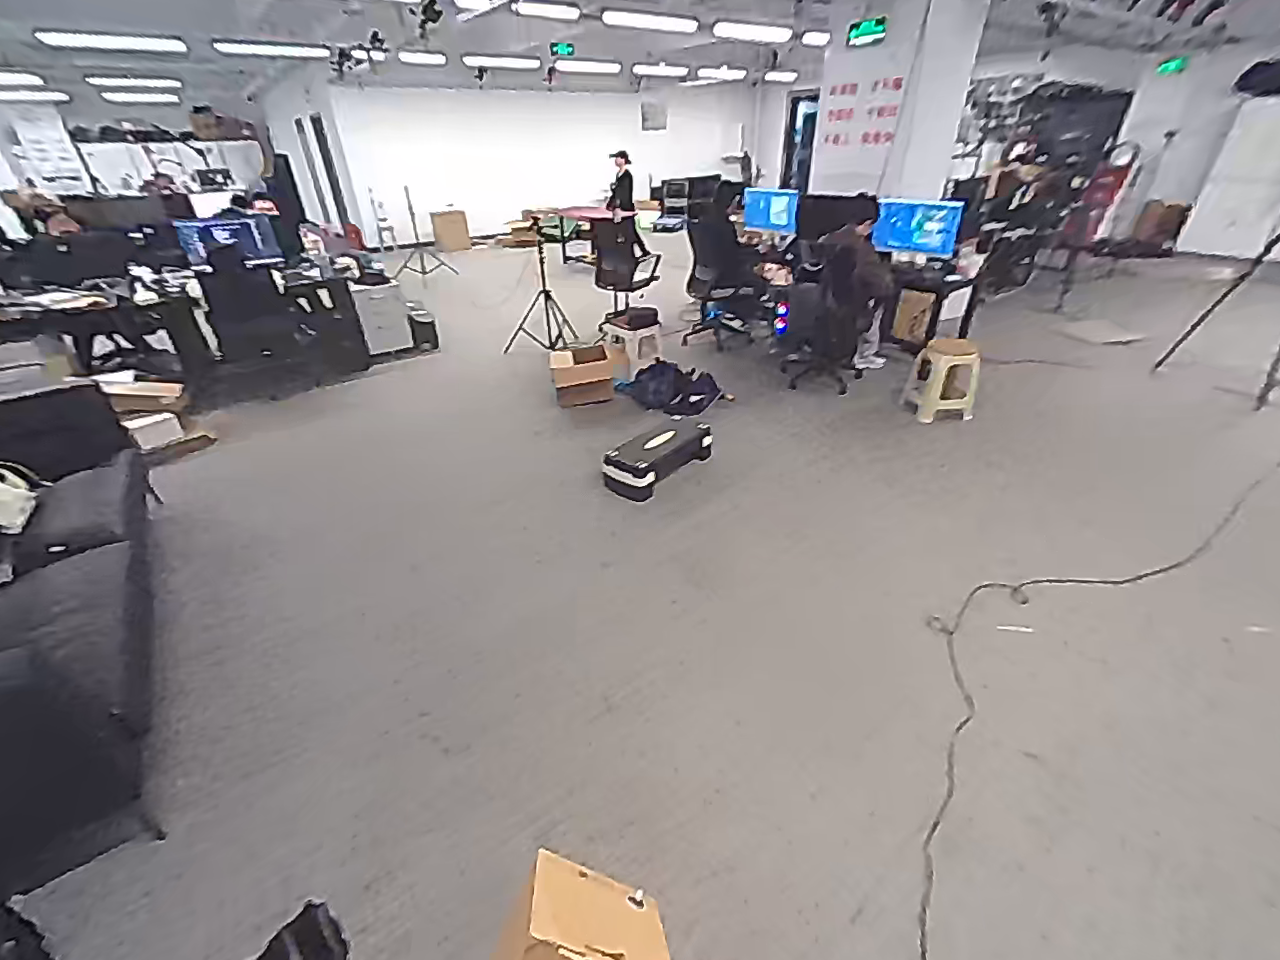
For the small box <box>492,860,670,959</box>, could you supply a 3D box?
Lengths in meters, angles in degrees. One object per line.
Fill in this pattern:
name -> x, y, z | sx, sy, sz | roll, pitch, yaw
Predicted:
small box -> -0.075, 0.551, 0.569 | 0.168, 0.176, 0.179 | 26, 78, -2
